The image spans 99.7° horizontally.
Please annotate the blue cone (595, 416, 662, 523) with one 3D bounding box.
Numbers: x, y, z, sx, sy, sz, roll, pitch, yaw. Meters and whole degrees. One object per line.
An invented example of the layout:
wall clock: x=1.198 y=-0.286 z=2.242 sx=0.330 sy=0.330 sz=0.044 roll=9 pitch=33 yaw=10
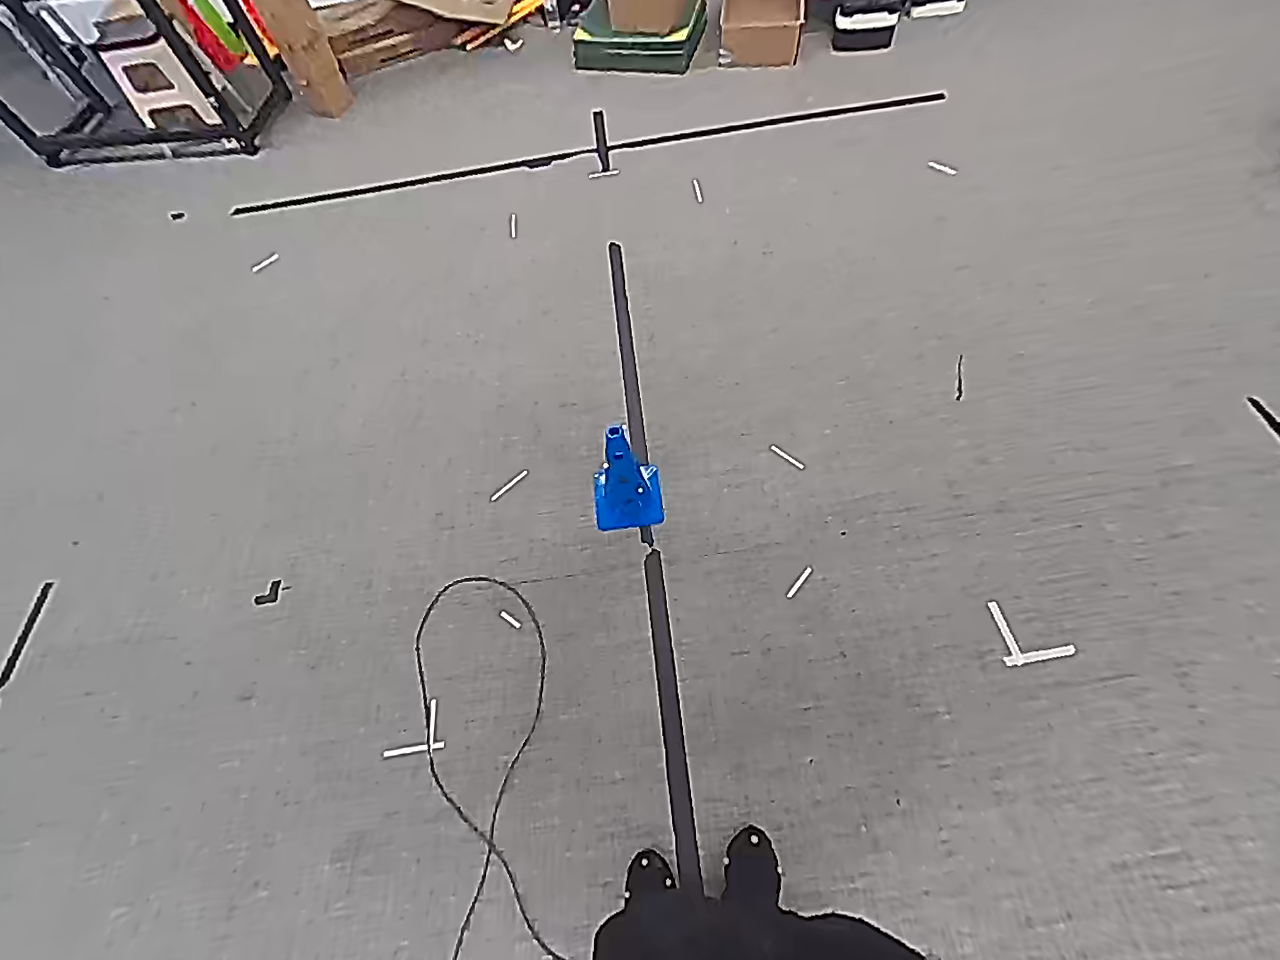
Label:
blue cone: x=-0.050 y=-0.043 z=1.457 sx=0.193 sy=0.380 sz=0.192 roll=-9 pitch=61 yaw=1
